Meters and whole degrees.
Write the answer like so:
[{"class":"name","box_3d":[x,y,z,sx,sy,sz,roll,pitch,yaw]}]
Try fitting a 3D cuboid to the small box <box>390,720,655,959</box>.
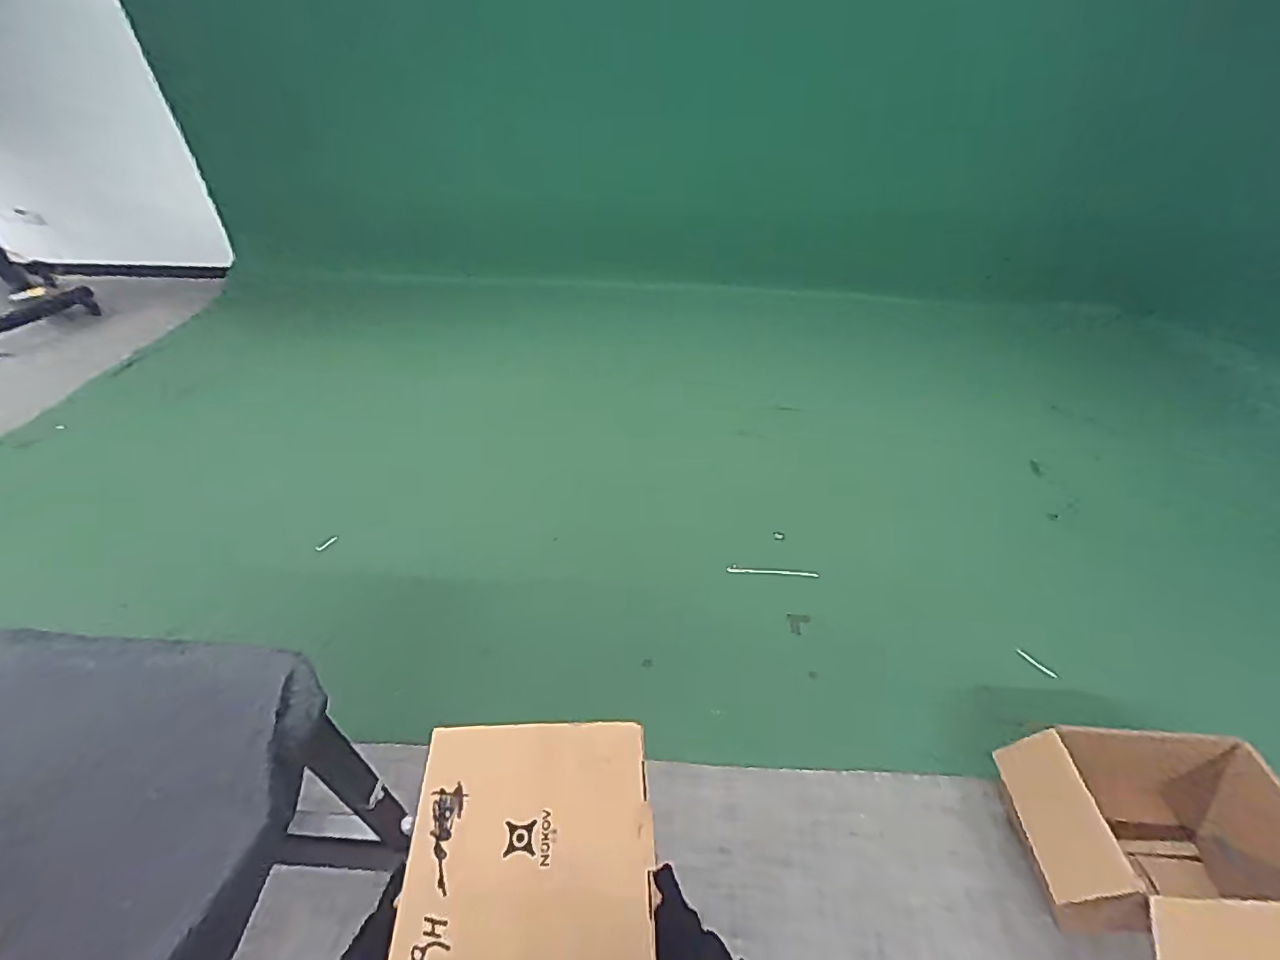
[{"class":"small box","box_3d":[-0.088,0.322,0.464,0.179,0.176,0.168,3,45,-6]}]
